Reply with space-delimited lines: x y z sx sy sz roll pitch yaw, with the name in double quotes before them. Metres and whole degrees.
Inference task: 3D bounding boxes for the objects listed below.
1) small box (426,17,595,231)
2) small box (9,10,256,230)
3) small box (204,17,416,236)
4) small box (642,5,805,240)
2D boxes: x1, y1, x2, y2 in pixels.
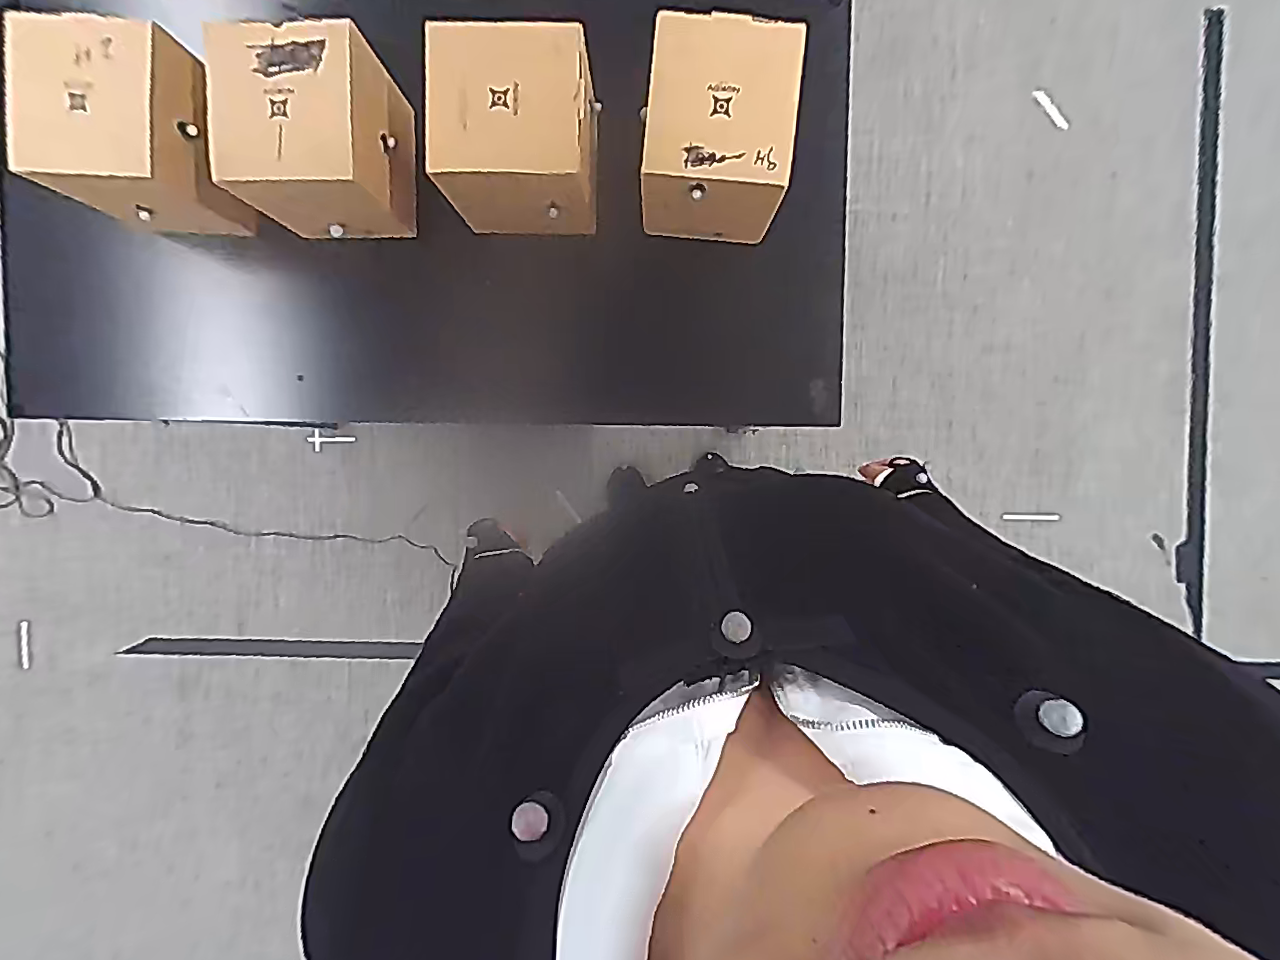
"small box" -0.149 -0.429 0.678 0.179 0.176 0.168 0 92 2
"small box" -0.622 -0.437 0.685 0.168 0.176 0.179 3 93 0
"small box" -0.398 -0.429 0.680 0.168 0.176 0.179 -1 94 1
"small box" 0.092 -0.426 0.670 0.168 0.176 0.179 6 92 1
